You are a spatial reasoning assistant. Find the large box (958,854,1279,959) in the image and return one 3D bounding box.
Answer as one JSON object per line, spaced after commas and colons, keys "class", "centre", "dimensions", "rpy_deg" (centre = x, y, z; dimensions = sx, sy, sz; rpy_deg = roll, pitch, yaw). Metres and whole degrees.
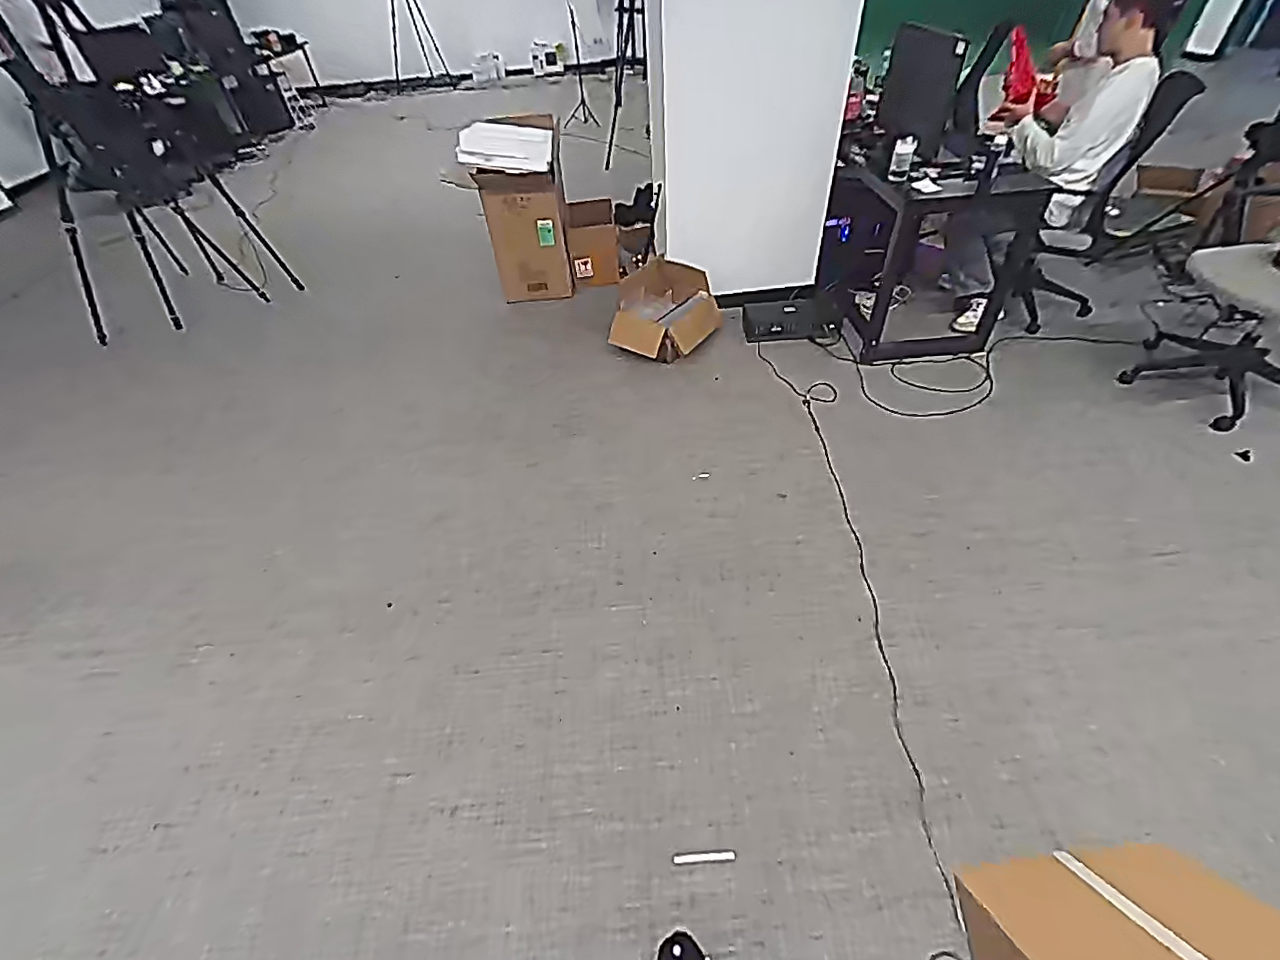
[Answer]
{"class": "large box", "centre": [0.627, 0.686, 0.581], "dimensions": [0.320, 0.408, 0.320], "rpy_deg": [-9, 82, 3]}
